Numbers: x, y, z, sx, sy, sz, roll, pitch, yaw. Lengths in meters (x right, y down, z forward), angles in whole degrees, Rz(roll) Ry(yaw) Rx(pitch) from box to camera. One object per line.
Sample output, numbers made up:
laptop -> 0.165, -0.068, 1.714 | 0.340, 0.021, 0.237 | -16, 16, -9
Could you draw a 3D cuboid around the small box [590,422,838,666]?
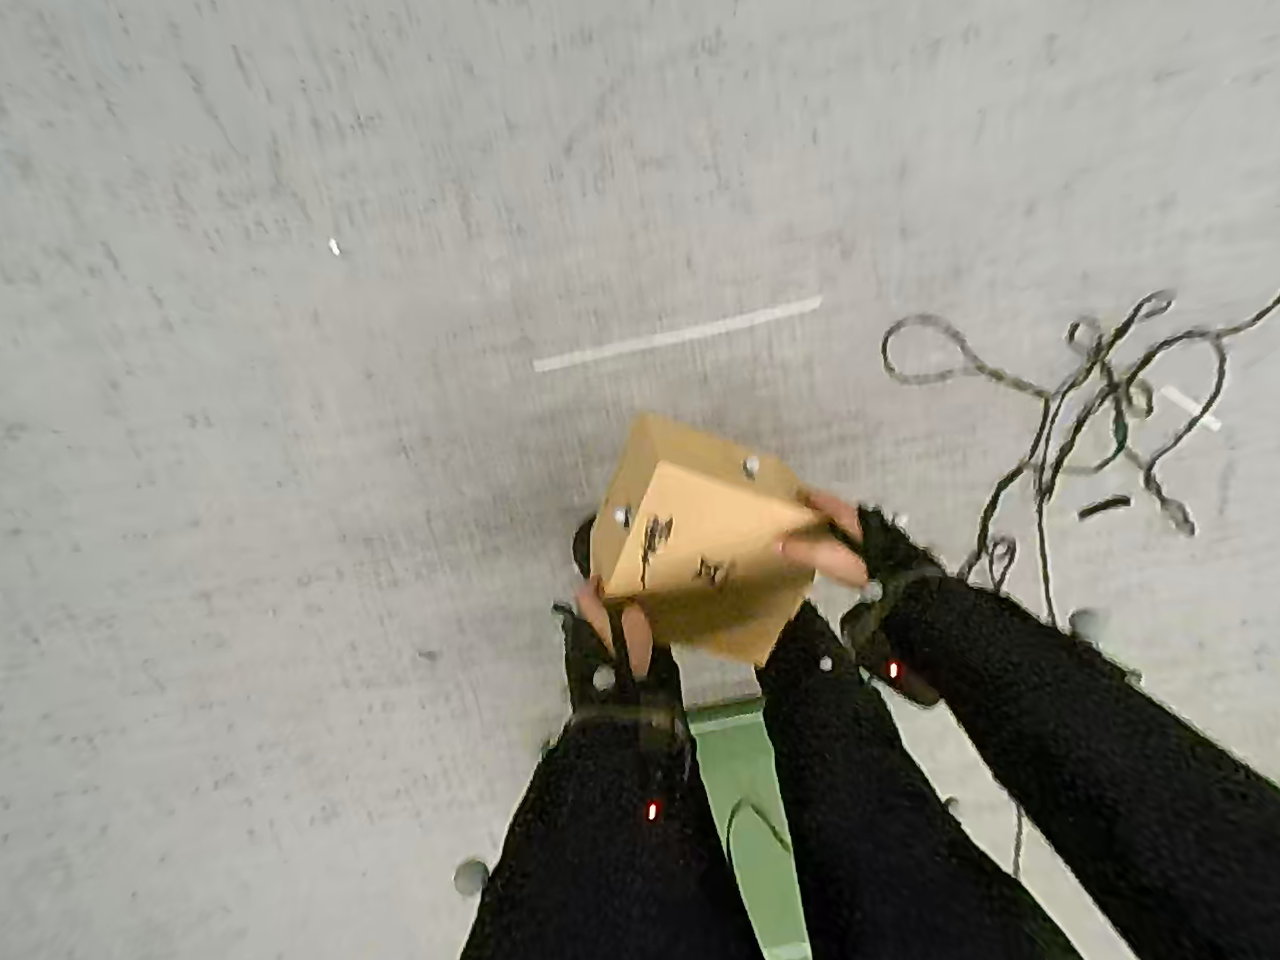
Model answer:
small box -> 0.057, 0.054, 0.551 | 0.179, 0.176, 0.168 | 19, 107, -13
